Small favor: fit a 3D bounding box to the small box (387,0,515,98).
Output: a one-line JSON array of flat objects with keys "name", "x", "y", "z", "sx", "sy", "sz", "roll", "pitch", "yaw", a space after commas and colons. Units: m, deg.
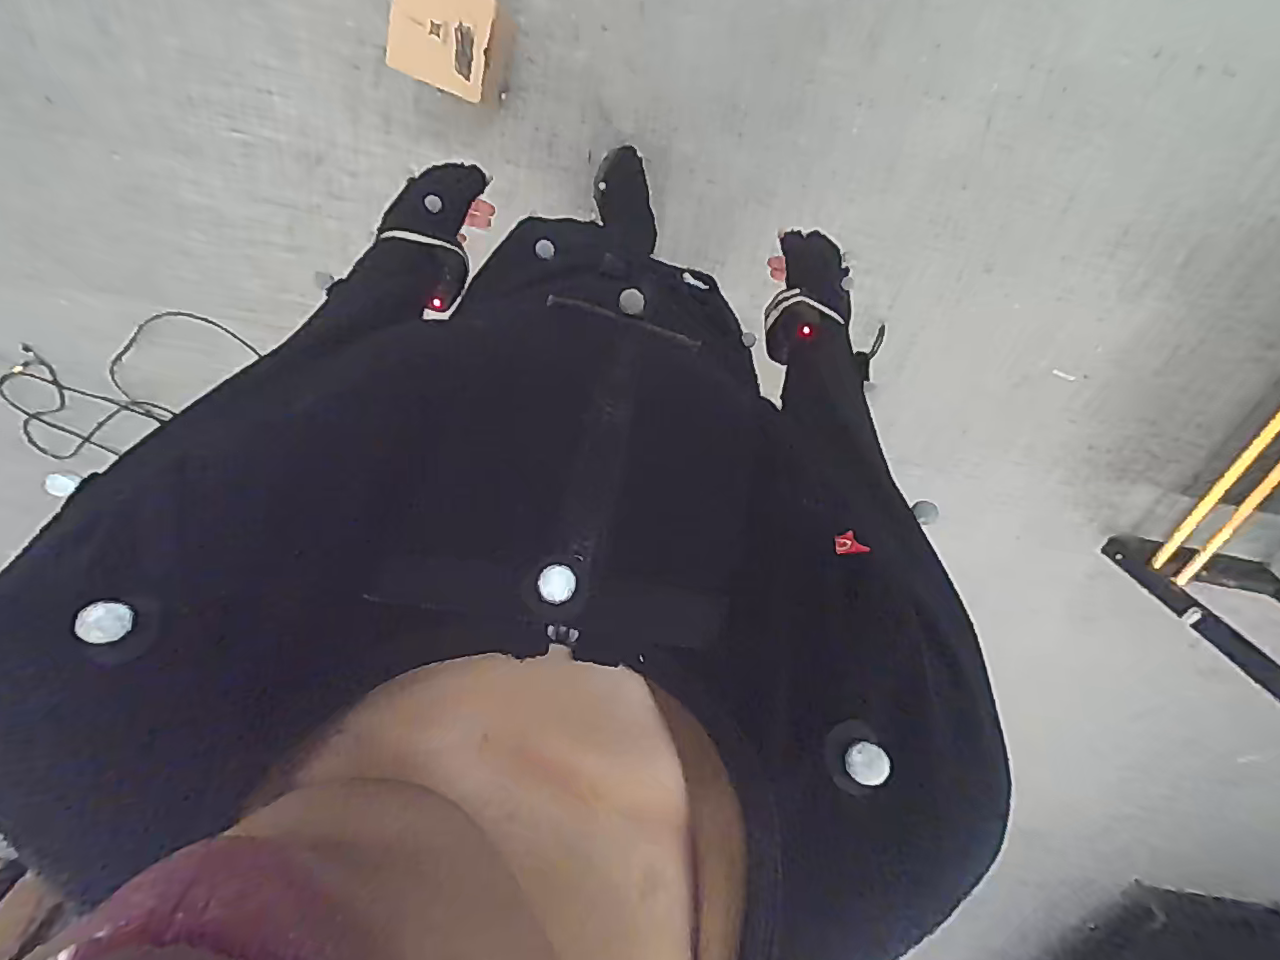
[{"name": "small box", "x": -0.347, "y": -0.847, "z": 1.017, "sx": 0.179, "sy": 0.176, "sz": 0.168, "roll": 18, "pitch": 119, "yaw": -8}]
